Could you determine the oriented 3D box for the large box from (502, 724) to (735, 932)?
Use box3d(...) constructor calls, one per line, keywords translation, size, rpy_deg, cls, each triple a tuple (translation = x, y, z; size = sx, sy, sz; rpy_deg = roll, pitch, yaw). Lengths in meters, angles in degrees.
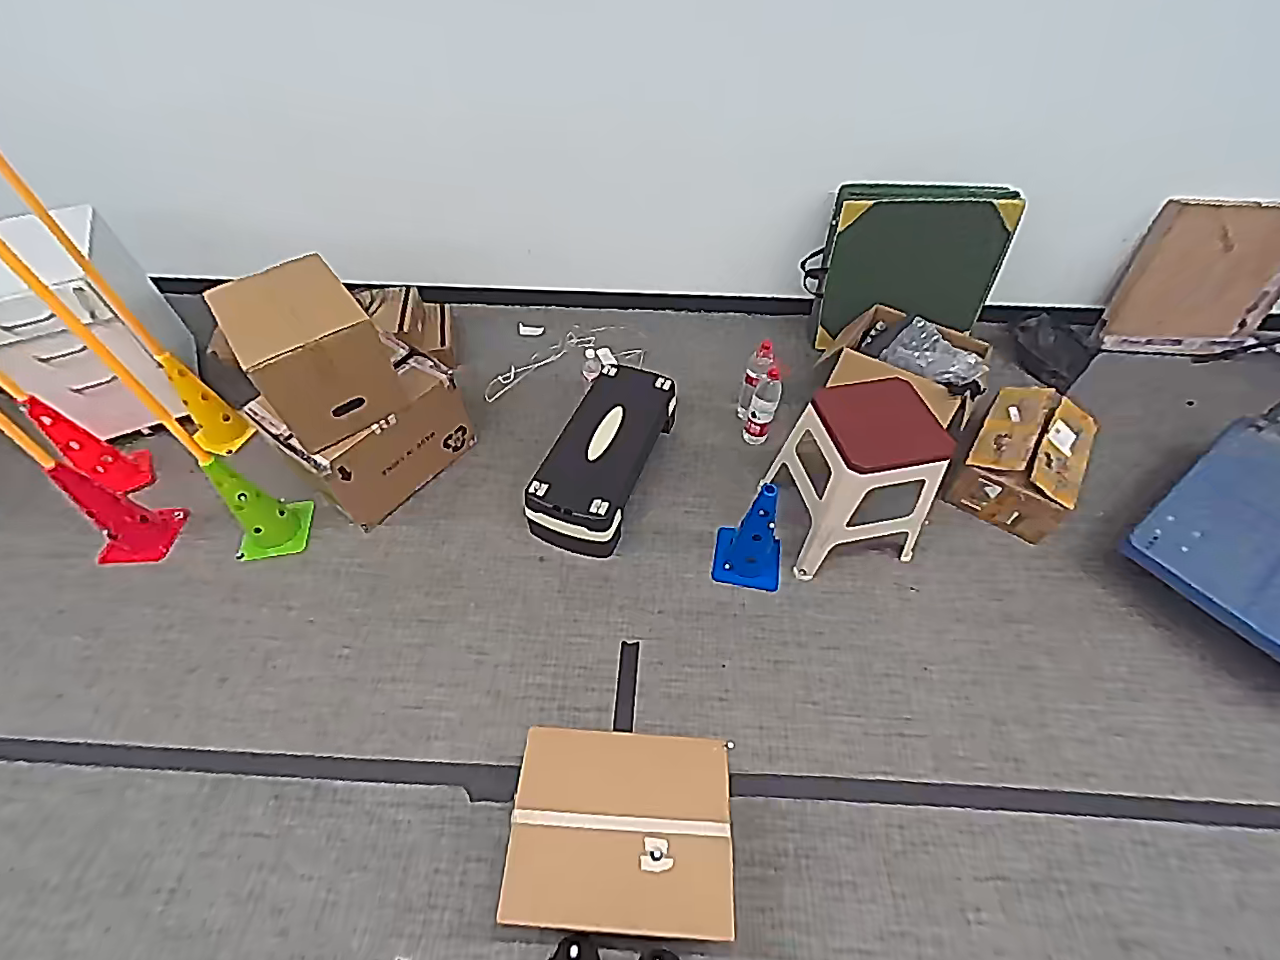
box3d(translation=(-0.036, 0.719, 1.118), size=(0.408, 0.320, 0.320), rpy_deg=(4, 53, 1), cls="large box")
